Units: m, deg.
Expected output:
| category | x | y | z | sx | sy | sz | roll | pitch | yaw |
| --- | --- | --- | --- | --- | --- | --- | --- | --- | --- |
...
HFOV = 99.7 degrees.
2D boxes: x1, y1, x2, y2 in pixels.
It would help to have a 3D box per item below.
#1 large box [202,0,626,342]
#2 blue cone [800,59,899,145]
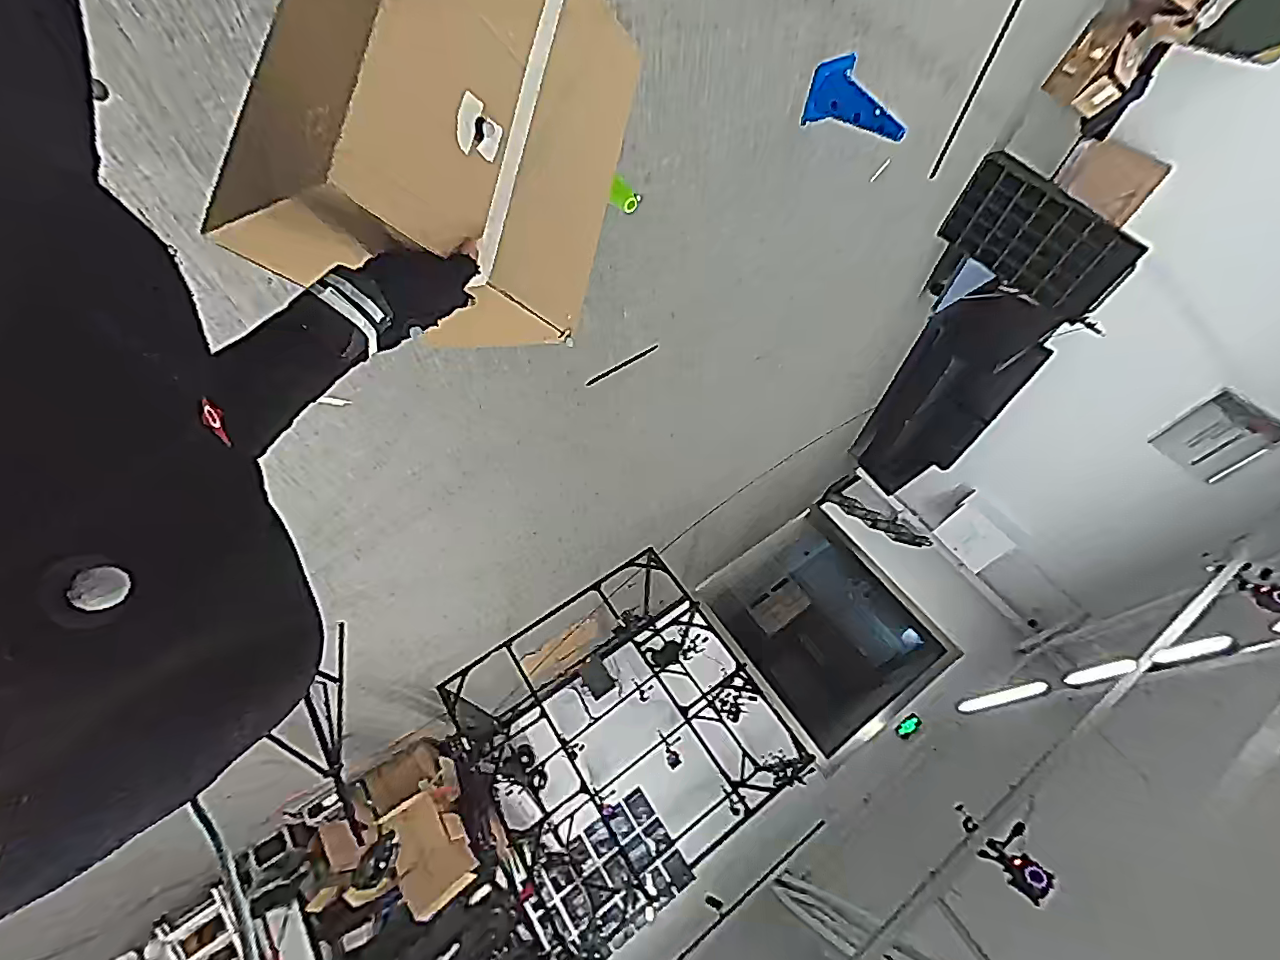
| category | x | y | z | sx | sy | sz | roll | pitch | yaw |
| --- | --- | --- | --- | --- | --- | --- | --- | --- | --- |
| large box | -0.262 | -0.423 | 0.676 | 0.320 | 0.320 | 0.408 | 21 | 81 | -54 |
| blue cone | 0.772 | -1.314 | 1.928 | 0.193 | 0.380 | 0.192 | -29 | 156 | -20 |
